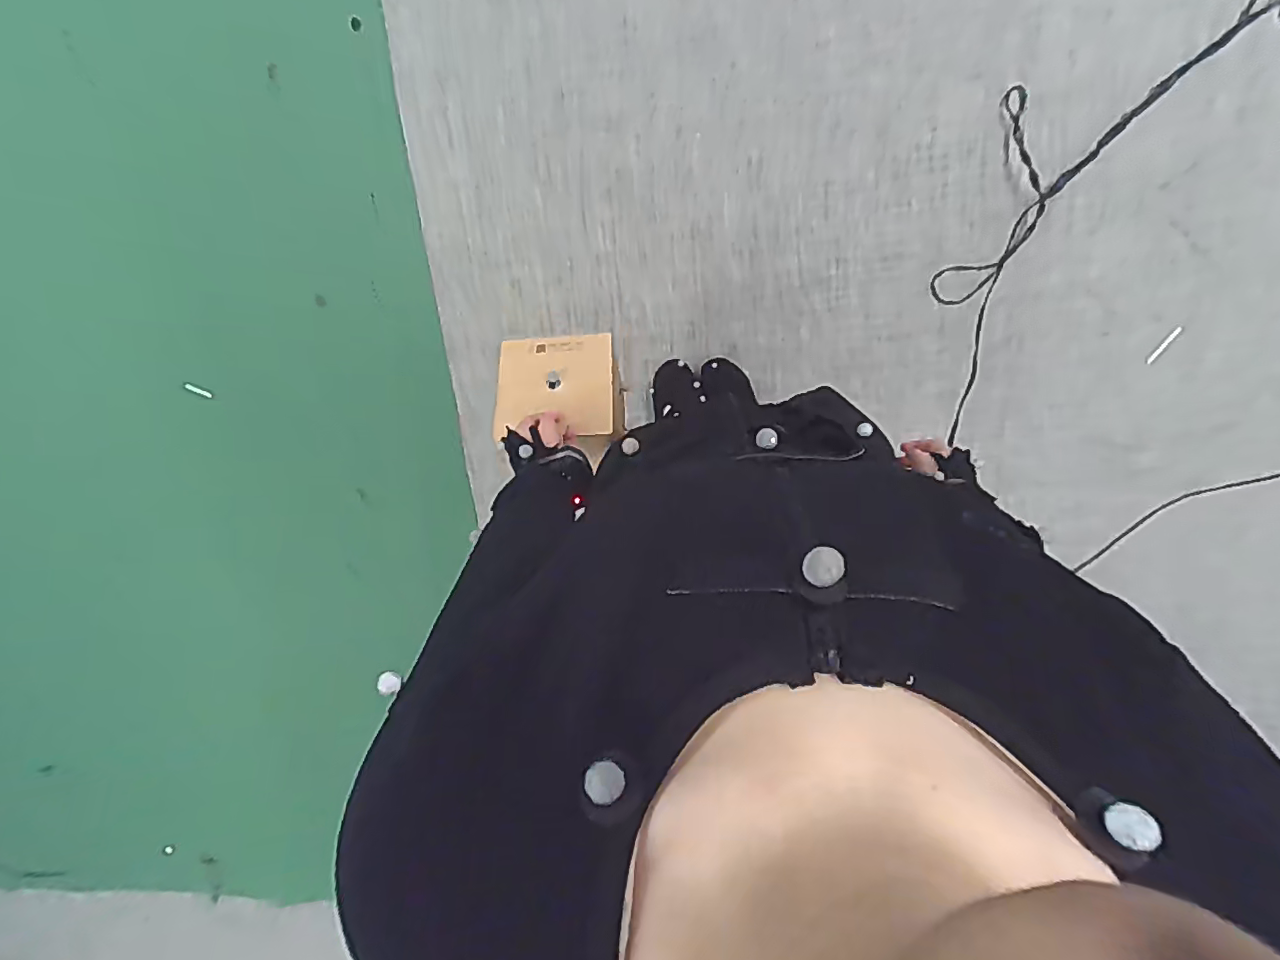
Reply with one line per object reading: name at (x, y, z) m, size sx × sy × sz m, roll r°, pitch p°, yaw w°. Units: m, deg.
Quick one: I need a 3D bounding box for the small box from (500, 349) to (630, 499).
small box at (-0.110, -0.087, 0.836) m, size 0.168 × 0.179 × 0.176 m, roll -5°, pitch 65°, yaw 3°
